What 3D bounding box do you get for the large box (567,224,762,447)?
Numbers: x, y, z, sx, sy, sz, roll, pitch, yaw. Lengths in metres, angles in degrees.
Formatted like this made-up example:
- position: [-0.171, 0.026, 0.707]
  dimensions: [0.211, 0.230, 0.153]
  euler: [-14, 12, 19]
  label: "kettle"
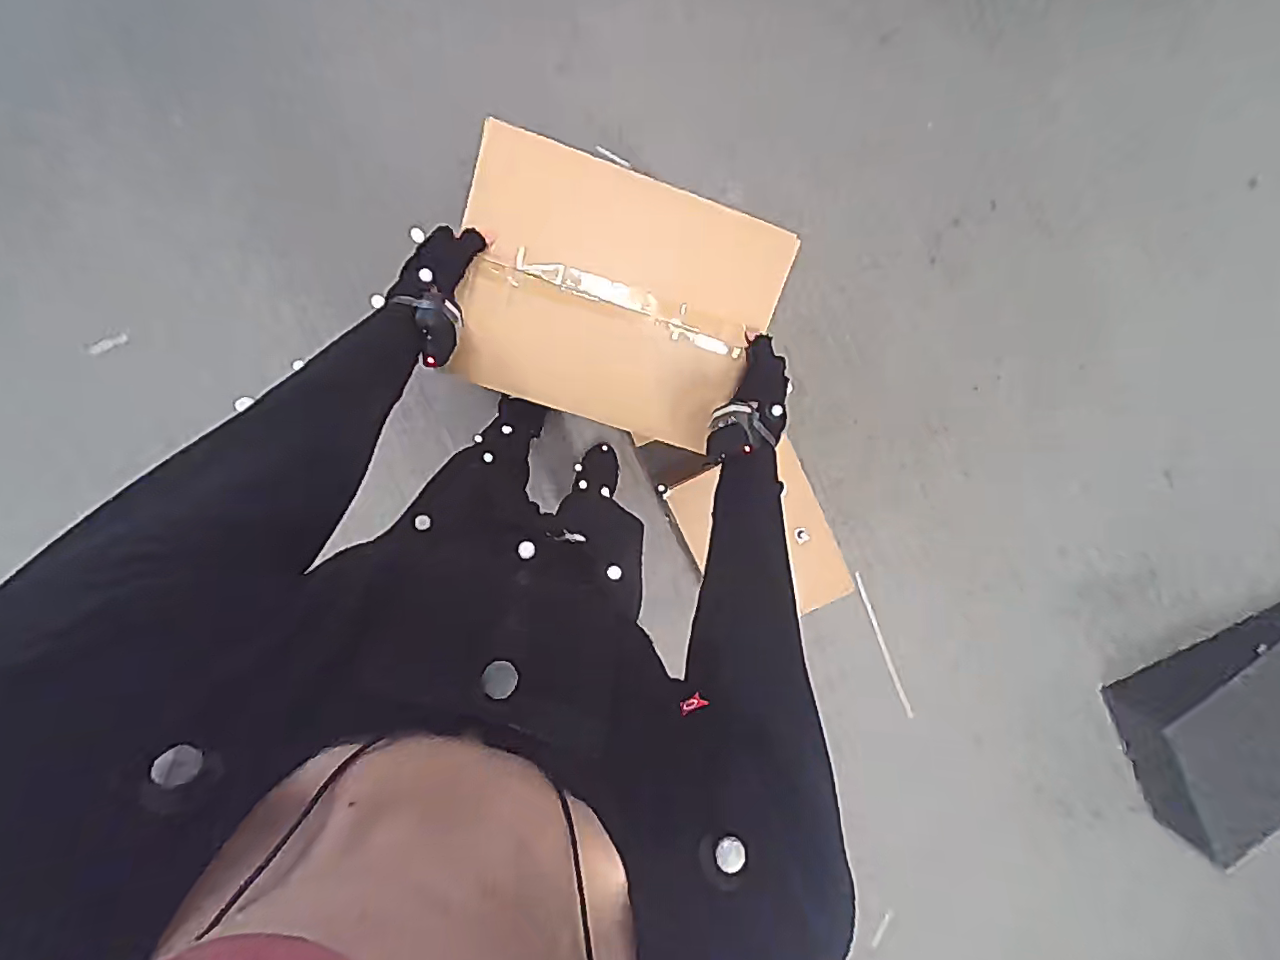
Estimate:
- position: [0.054, -0.322, 1.318]
  dimensions: [0.320, 0.320, 0.408]
  euler: [-21, 95, -1]
  label: "large box"
